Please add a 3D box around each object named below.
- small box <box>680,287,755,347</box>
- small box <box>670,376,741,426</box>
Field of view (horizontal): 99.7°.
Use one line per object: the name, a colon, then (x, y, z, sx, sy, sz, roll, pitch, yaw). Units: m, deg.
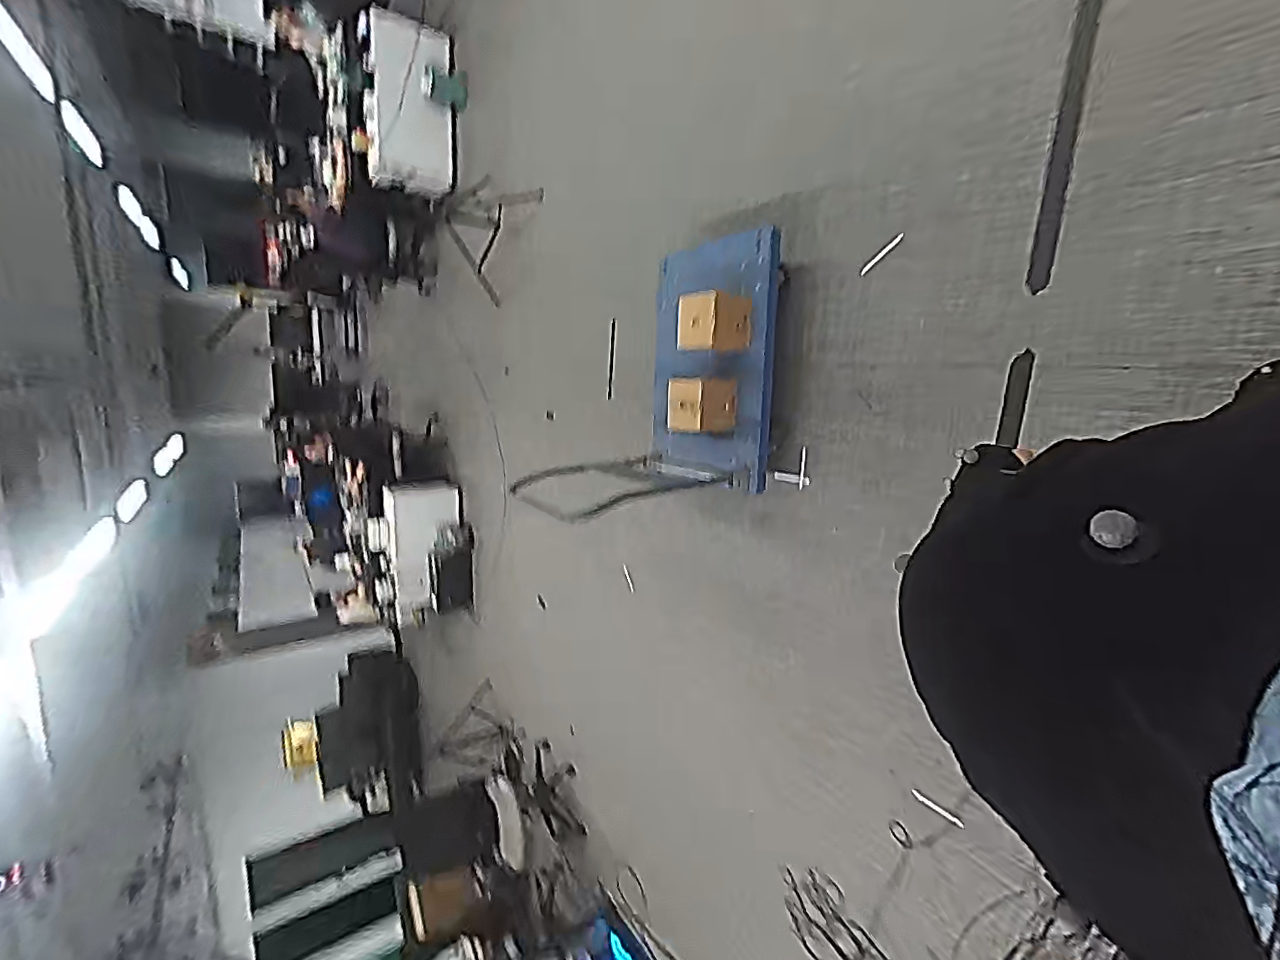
small box: (0.255, -0.533, 1.787, 0.179, 0.176, 0.168, 15, 107, 53)
small box: (0.223, -0.273, 1.865, 0.179, 0.176, 0.168, 14, 106, 53)
